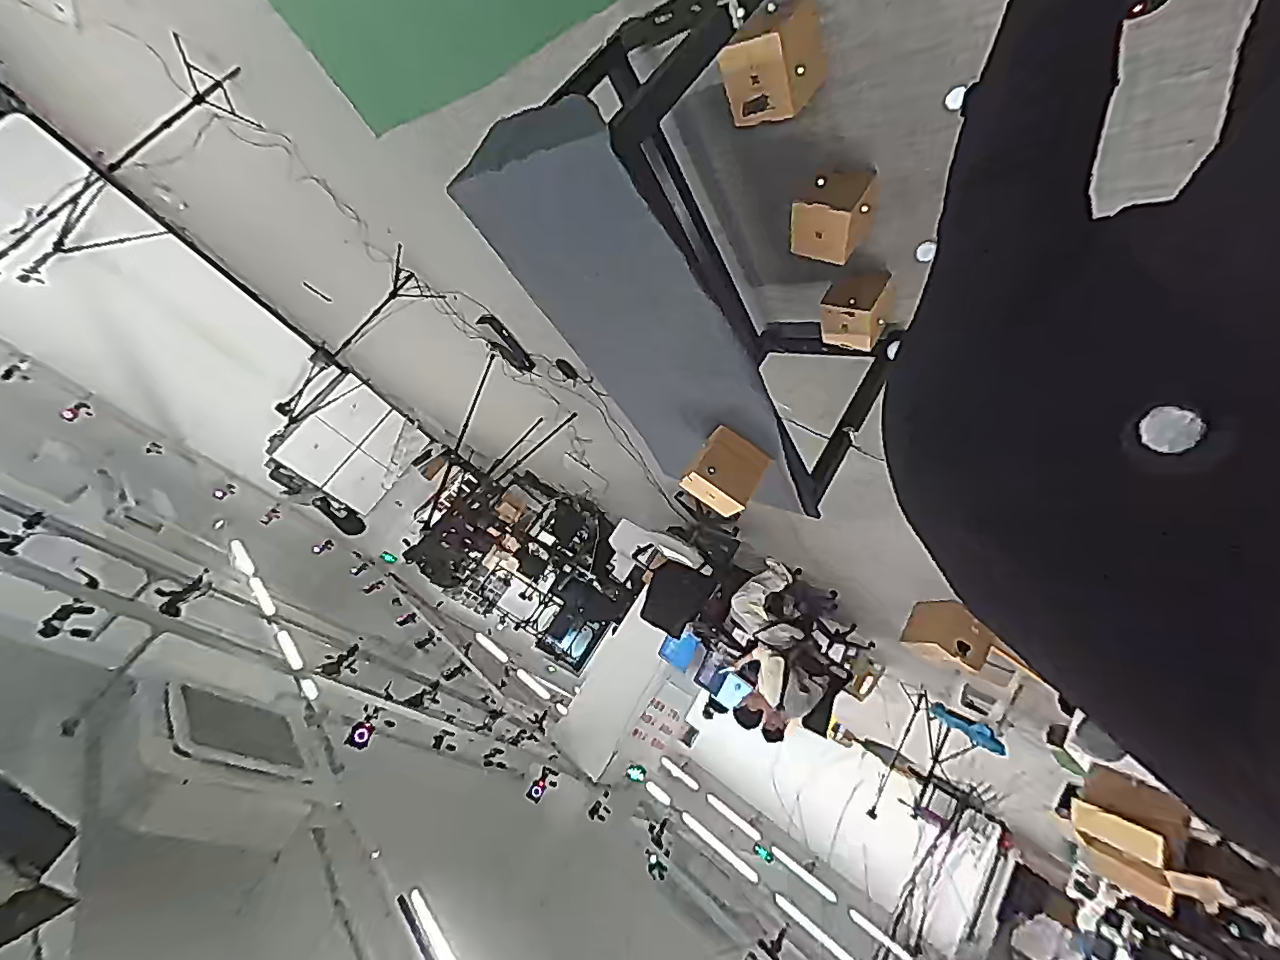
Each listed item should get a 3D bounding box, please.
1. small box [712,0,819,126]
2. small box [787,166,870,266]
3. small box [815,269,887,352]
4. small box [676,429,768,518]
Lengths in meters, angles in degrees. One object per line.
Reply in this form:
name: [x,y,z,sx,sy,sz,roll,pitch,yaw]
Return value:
small box: [0.301,-0.978,1.270,0.168,0.176,0.179,19,157,39]
small box: [0.526,-0.742,1.513,0.168,0.176,0.179,27,163,25]
small box: [0.687,-0.550,1.754,0.168,0.176,0.179,23,161,33]
small box: [0.234,-0.017,1.537,0.179,0.176,0.168,34,163,-1]
